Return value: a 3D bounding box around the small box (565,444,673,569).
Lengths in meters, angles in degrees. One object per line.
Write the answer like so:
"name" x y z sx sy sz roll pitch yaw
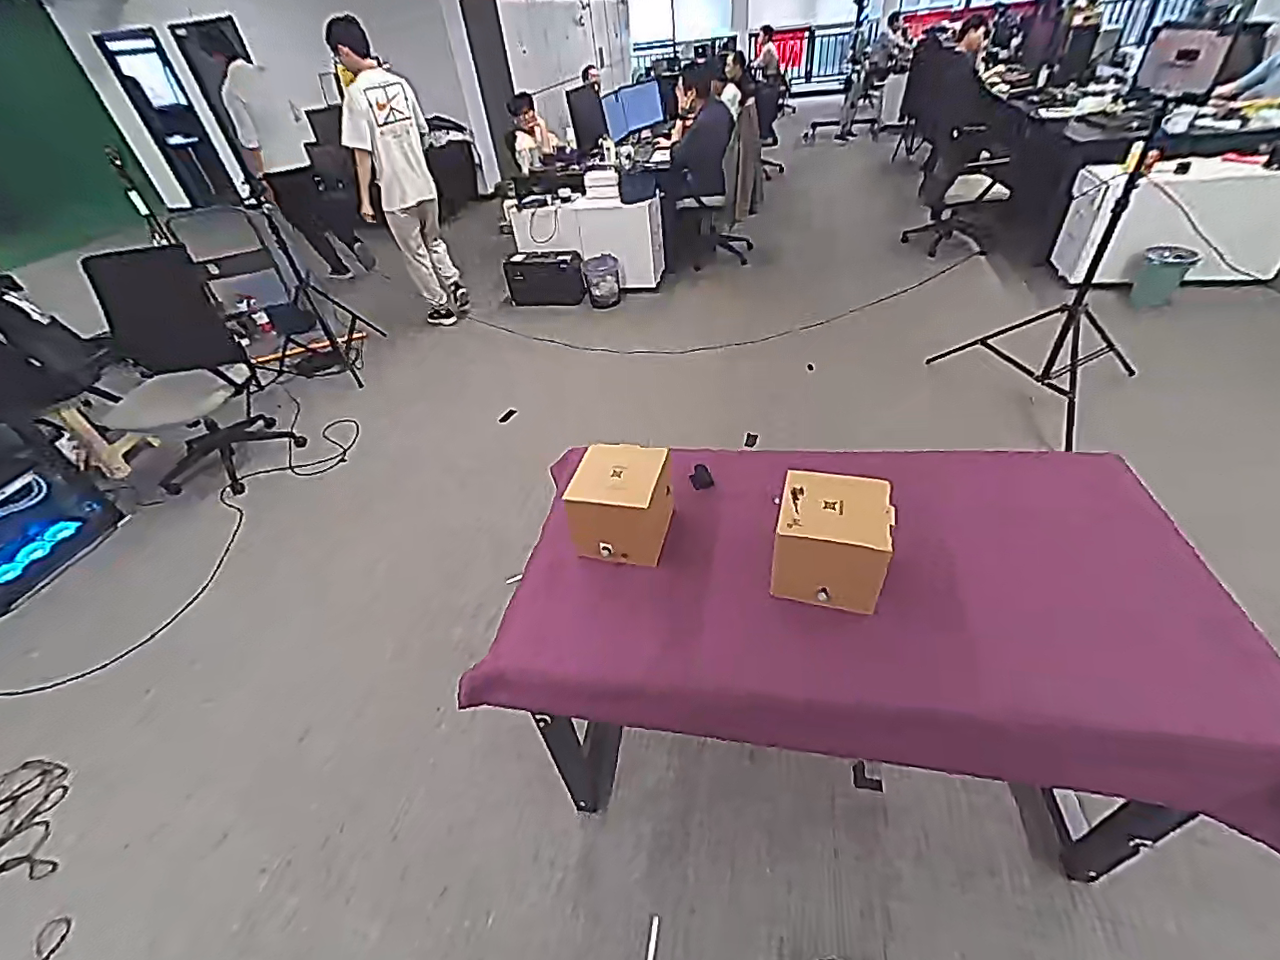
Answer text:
"small box" -0.031 0.051 1.078 0.168 0.176 0.179 5 42 16

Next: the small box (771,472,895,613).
"small box" 0.335 0.110 0.950 0.179 0.176 0.168 8 42 17
